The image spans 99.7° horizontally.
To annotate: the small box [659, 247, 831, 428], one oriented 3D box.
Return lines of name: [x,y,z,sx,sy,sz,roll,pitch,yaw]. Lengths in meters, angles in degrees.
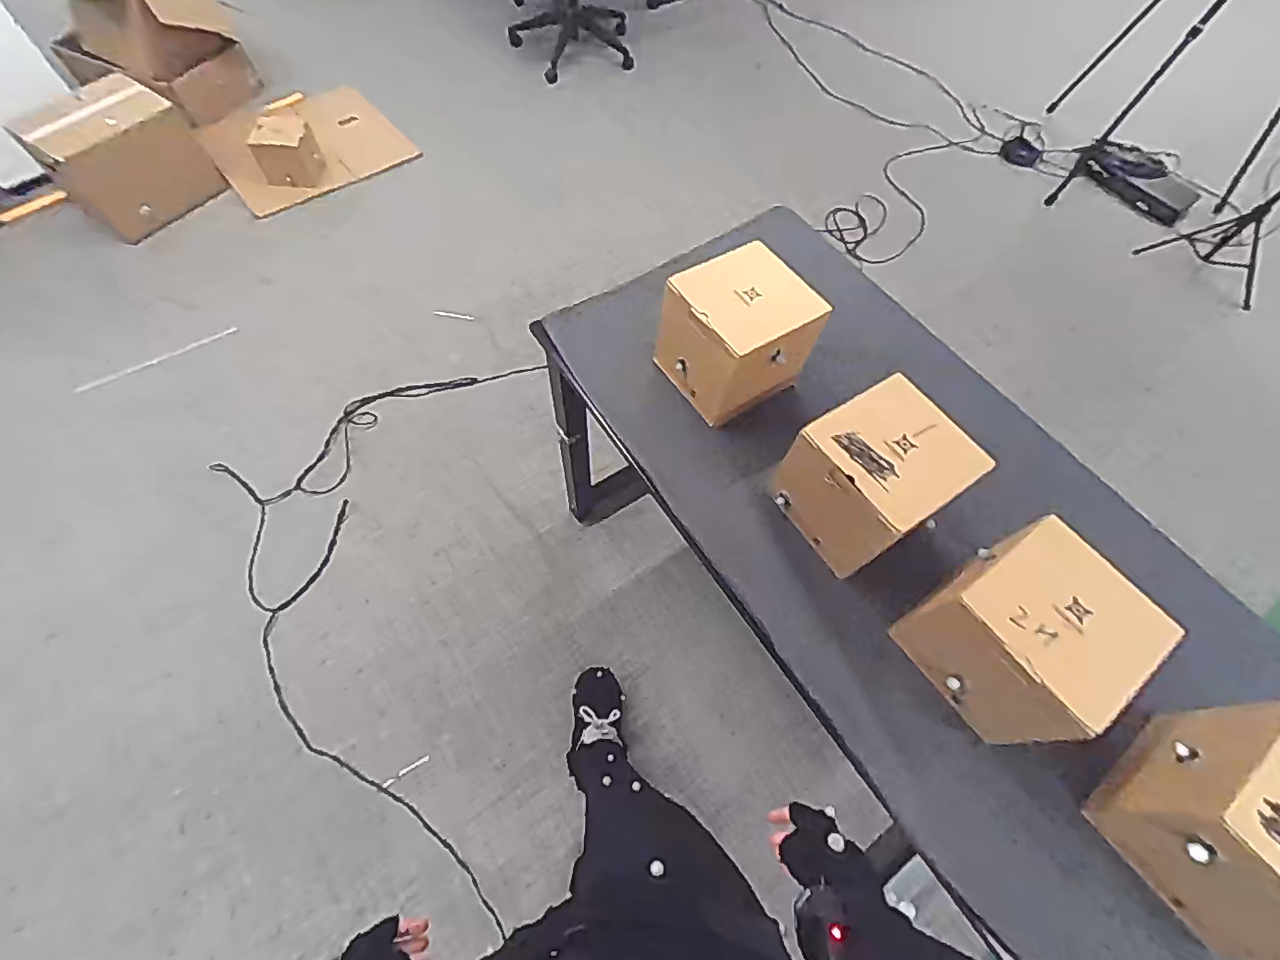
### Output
small box: [0.147,-0.213,0.826,0.179,0.176,0.168,-30,69,-19]

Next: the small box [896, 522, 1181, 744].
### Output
small box: [0.446,0.184,0.635,0.179,0.176,0.168,-31,68,-19]

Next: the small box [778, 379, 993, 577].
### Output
small box: [0.306,0.004,0.722,0.179,0.176,0.168,-29,68,-19]
